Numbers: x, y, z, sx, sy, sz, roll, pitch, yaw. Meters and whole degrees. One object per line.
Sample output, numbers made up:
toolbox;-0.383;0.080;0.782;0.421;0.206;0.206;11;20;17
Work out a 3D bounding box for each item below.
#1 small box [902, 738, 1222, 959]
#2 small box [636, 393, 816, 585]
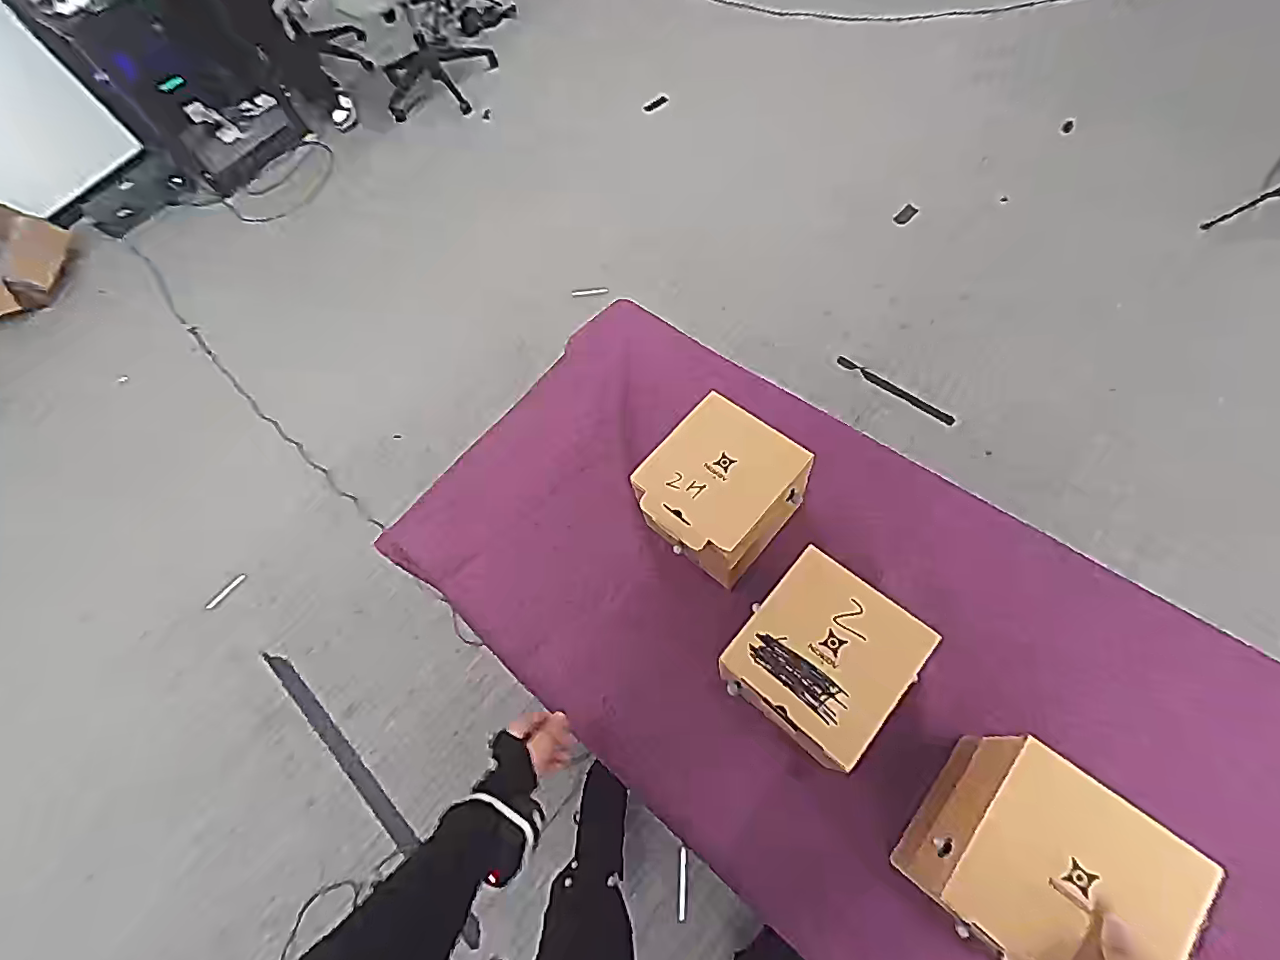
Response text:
small box;0.397;0.386;0.544;0.168;0.176;0.179;35;76;23
small box;0.118;0.019;0.763;0.168;0.176;0.179;38;76;23
